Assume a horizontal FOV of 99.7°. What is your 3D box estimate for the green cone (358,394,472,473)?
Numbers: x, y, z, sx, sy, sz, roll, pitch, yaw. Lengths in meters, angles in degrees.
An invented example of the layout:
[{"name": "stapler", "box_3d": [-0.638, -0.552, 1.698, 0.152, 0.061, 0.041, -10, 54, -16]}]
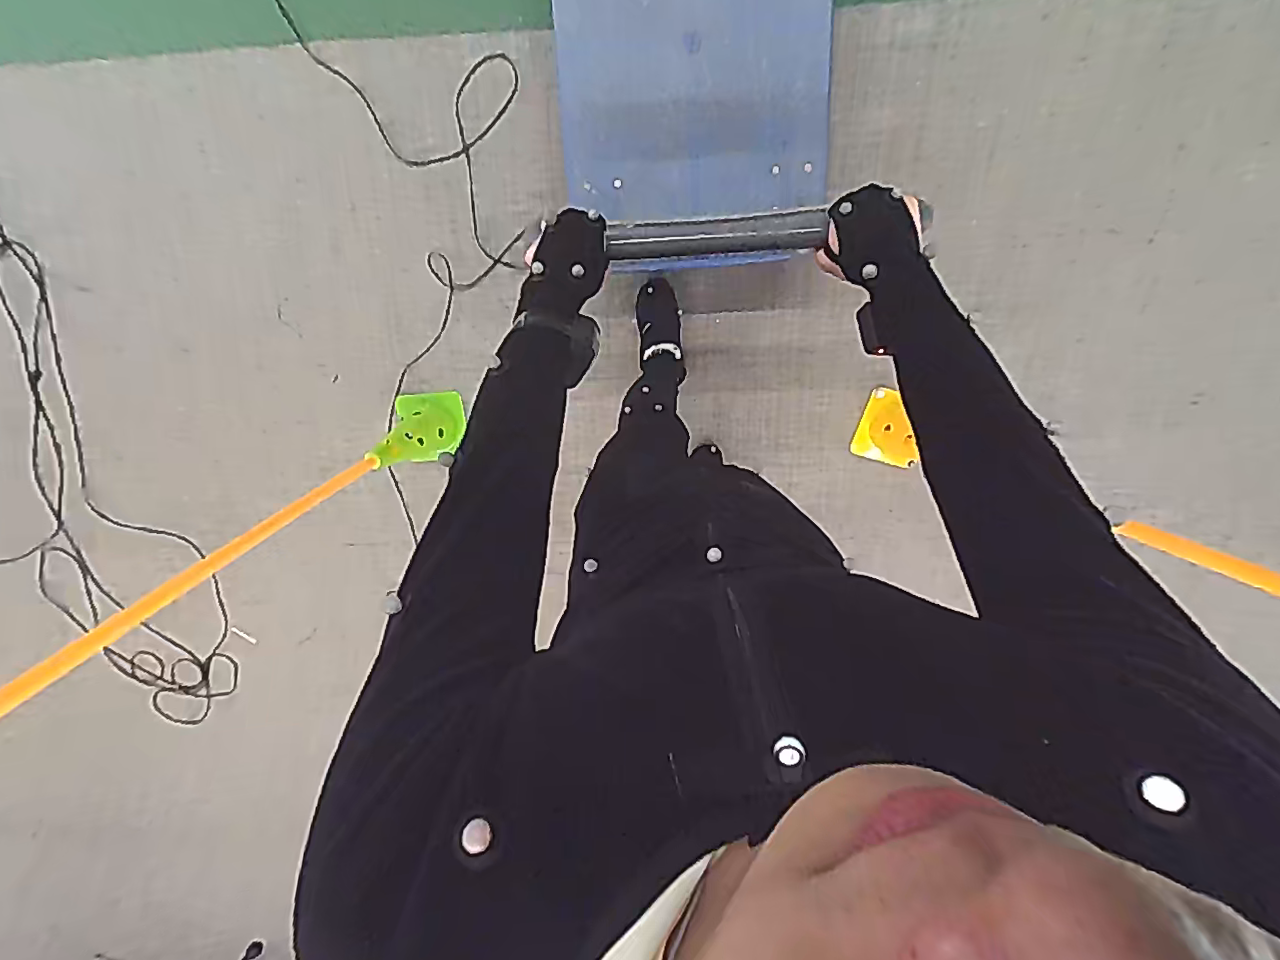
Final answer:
[{"name": "green cone", "box_3d": [-0.615, -0.095, 1.422, 0.202, 0.368, 0.200, -4, 107, 6]}]
